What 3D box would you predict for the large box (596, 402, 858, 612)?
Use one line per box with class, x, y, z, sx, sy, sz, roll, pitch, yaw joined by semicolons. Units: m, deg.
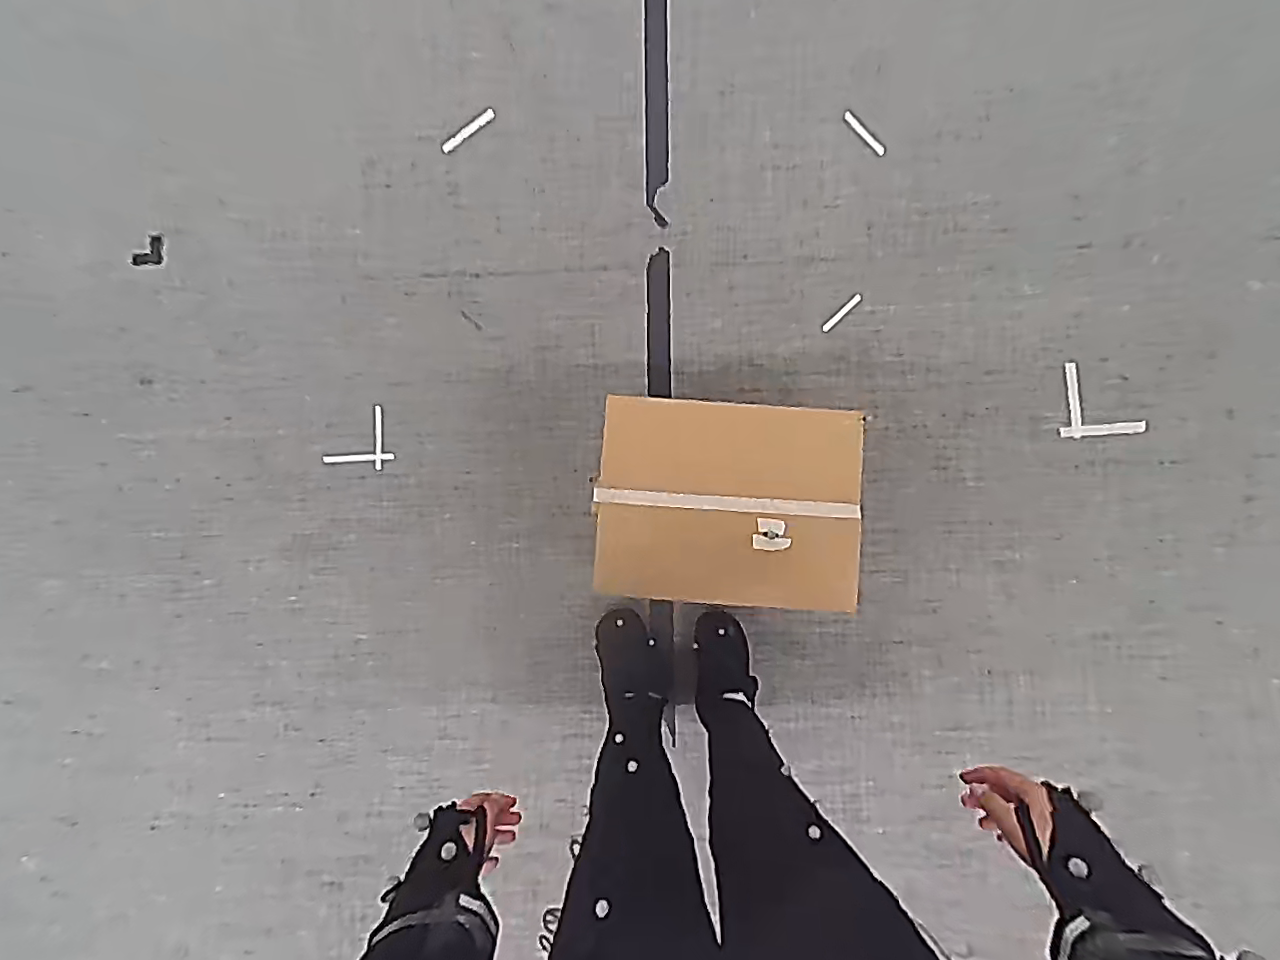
large box;0.135;0.051;0.984;0.408;0.320;0.320;4;87;1
